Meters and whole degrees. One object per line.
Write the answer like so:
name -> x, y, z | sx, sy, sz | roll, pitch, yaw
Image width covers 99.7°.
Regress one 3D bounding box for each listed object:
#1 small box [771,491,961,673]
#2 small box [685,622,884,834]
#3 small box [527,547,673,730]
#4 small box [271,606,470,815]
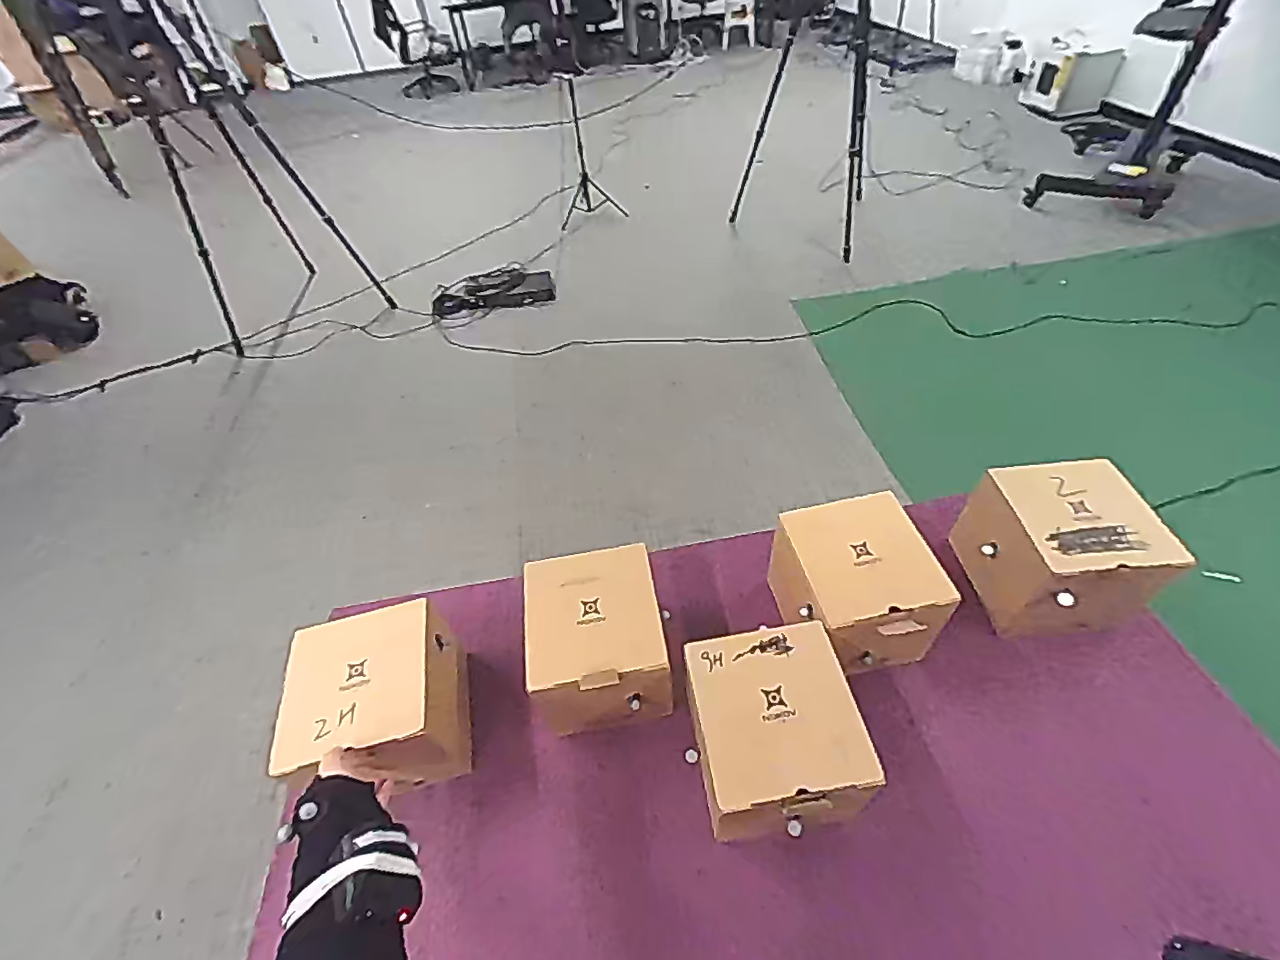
small box -> 0.290, 0.145, 0.745 | 0.168, 0.176, 0.179 | -12, 49, -3
small box -> 0.152, 0.294, 0.629 | 0.168, 0.176, 0.179 | -10, 48, -2
small box -> -0.052, 0.218, 0.724 | 0.168, 0.176, 0.179 | -9, 47, -3
small box -> -0.326, 0.295, 0.693 | 0.168, 0.176, 0.179 | -14, 48, -7
